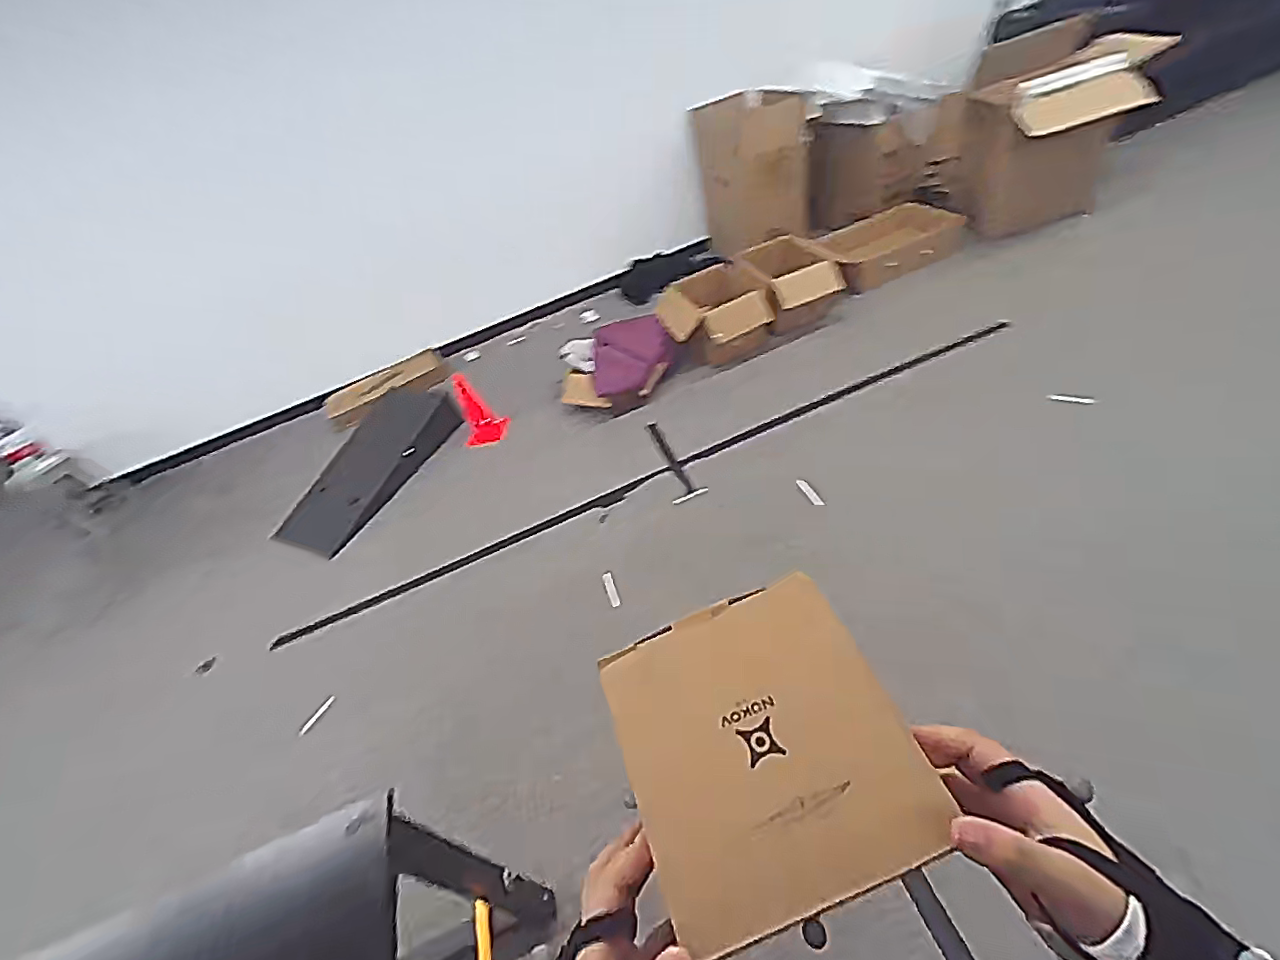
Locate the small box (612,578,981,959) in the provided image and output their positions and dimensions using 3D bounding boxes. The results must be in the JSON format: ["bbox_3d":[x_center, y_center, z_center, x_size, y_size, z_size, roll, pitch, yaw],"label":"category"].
[{"bbox_3d":[0.094,0.207,0.393,0.168,0.176,0.179,-21,51,-2],"label":"small box"}]
